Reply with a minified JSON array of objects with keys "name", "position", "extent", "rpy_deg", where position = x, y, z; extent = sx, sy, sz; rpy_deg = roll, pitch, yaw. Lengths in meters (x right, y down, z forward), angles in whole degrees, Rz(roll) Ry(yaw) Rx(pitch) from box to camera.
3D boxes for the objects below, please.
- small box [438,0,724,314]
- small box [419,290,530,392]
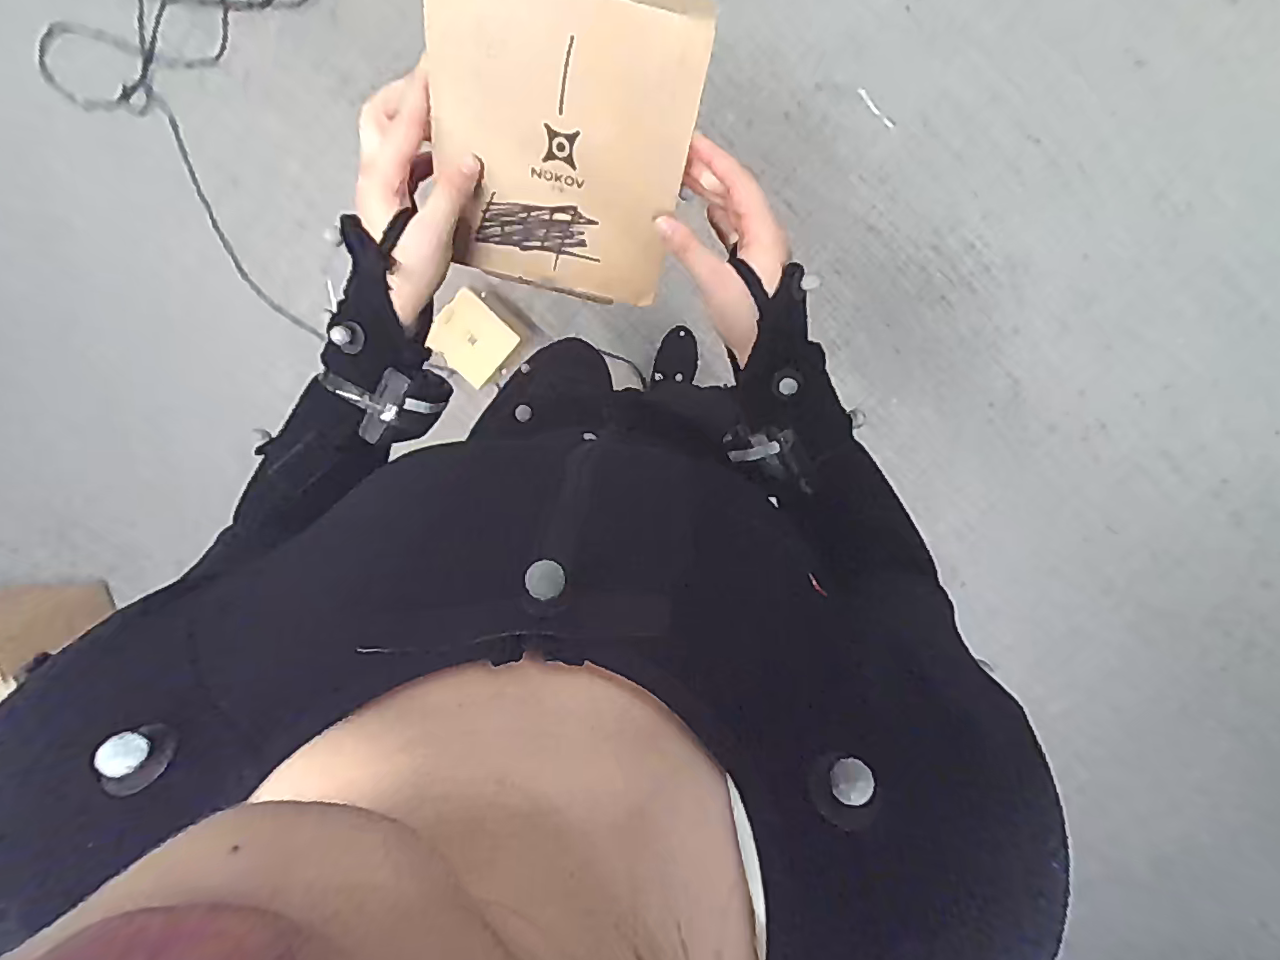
[{"name":"small box","position":[-0.040,-0.261,0.410],"extent":[0.168,0.176,0.179],"rpy_deg":[12,136,-6]},{"name":"small box","position":[-0.395,-0.343,1.329],"extent":[0.179,0.176,0.168],"rpy_deg":[43,103,-10]}]
